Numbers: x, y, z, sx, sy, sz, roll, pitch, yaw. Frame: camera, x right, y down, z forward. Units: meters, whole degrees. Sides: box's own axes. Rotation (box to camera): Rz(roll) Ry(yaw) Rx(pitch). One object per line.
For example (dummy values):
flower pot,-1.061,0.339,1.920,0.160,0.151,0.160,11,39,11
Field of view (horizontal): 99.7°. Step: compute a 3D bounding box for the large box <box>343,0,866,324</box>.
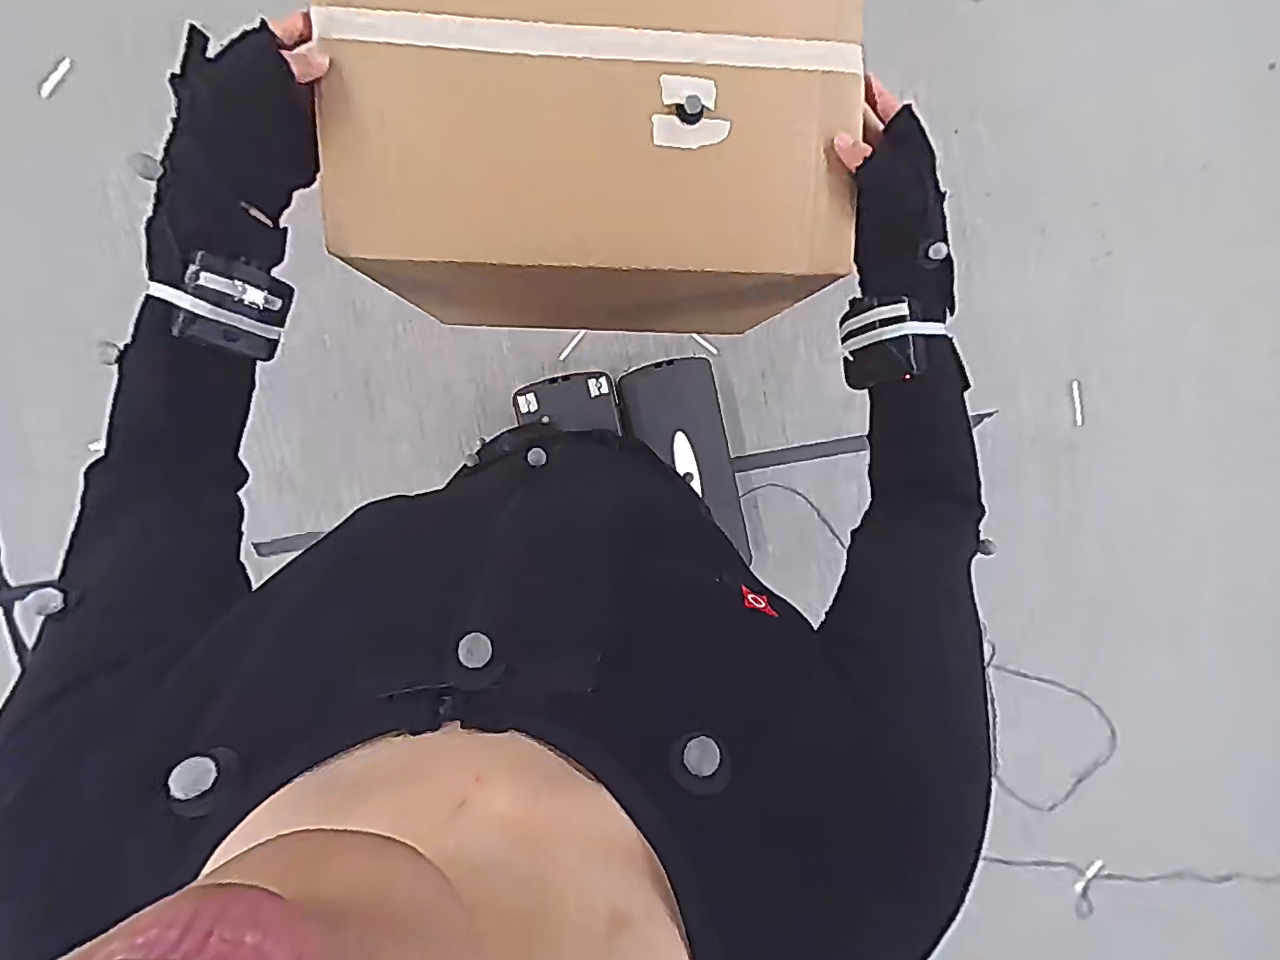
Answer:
large box,-0.036,-0.348,0.561,0.408,0.320,0.320,1,97,-6
